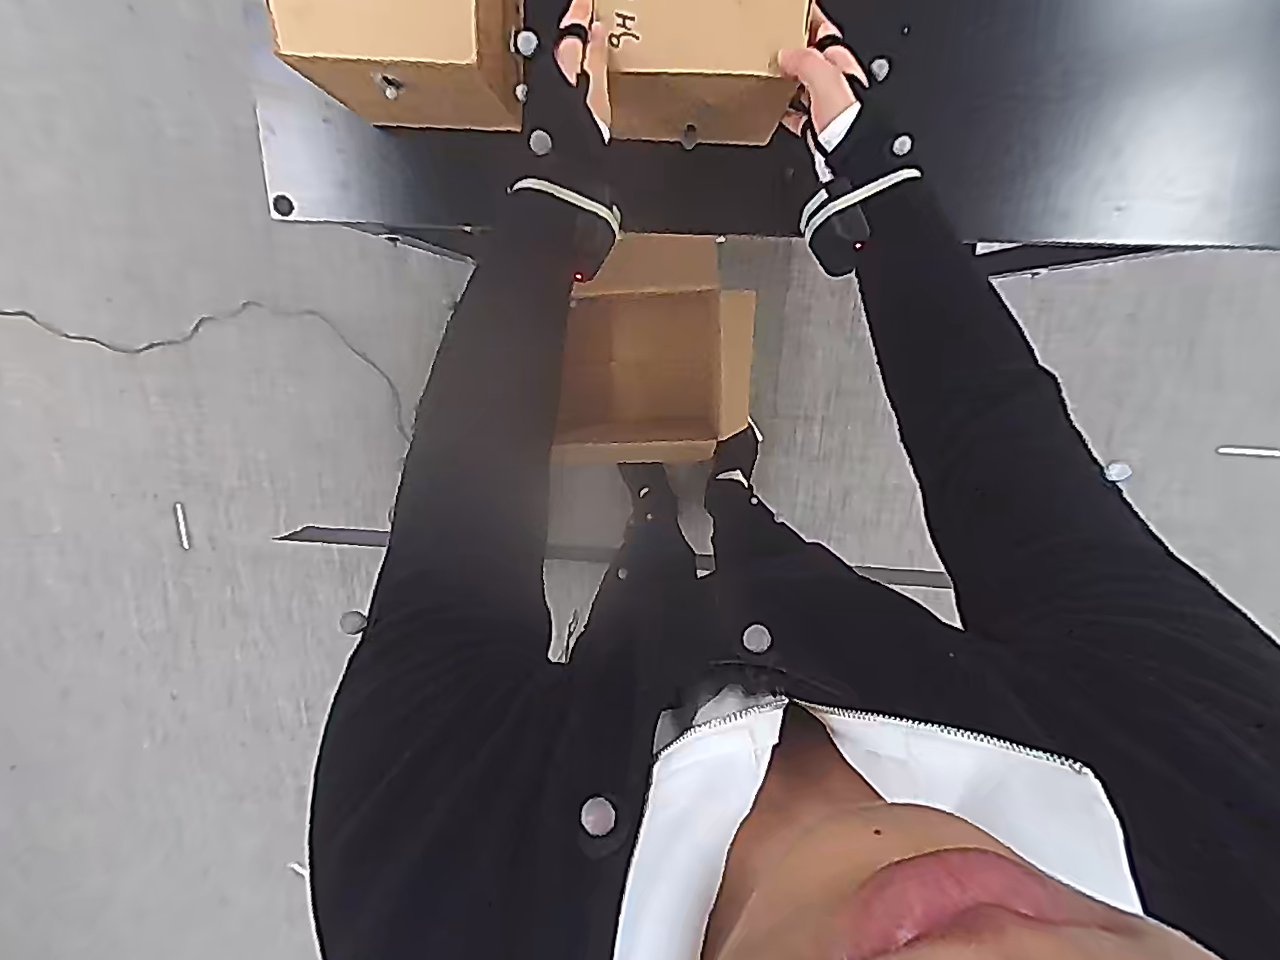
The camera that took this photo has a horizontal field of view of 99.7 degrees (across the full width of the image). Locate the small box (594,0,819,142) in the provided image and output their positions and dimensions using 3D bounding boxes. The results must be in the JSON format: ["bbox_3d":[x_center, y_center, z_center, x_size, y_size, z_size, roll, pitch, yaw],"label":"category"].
[{"bbox_3d":[0.055,-0.428,0.491,0.179,0.176,0.168,3,106,1],"label":"small box"}]

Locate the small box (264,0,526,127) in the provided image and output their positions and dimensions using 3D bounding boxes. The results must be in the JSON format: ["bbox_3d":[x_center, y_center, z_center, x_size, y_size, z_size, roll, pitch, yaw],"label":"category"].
[{"bbox_3d":[-0.211,-0.445,0.496,0.179,0.176,0.168,2,107,0],"label":"small box"}]
